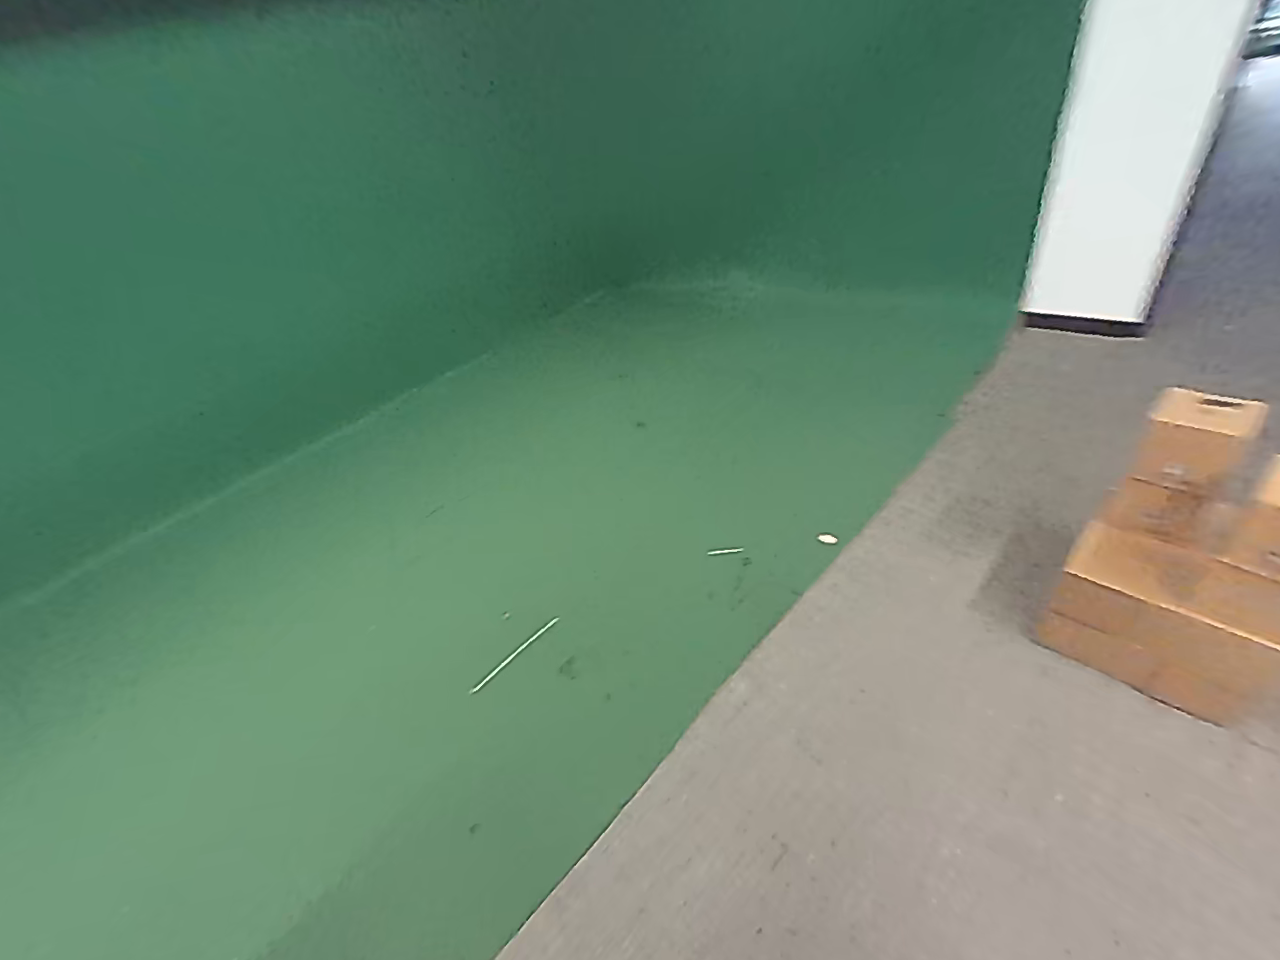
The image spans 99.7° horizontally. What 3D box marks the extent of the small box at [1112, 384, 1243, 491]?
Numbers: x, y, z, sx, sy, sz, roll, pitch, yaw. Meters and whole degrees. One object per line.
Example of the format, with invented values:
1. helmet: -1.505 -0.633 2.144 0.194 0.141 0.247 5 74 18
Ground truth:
1. small box: 1.277 -0.103 1.294 0.179 0.176 0.168 -35 41 -27

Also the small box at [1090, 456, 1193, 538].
1. small box: 1.311 0.017 1.402 0.179 0.176 0.168 -36 41 -30

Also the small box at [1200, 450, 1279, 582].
1. small box: 1.268 0.074 1.067 0.179 0.176 0.168 -35 43 -25
